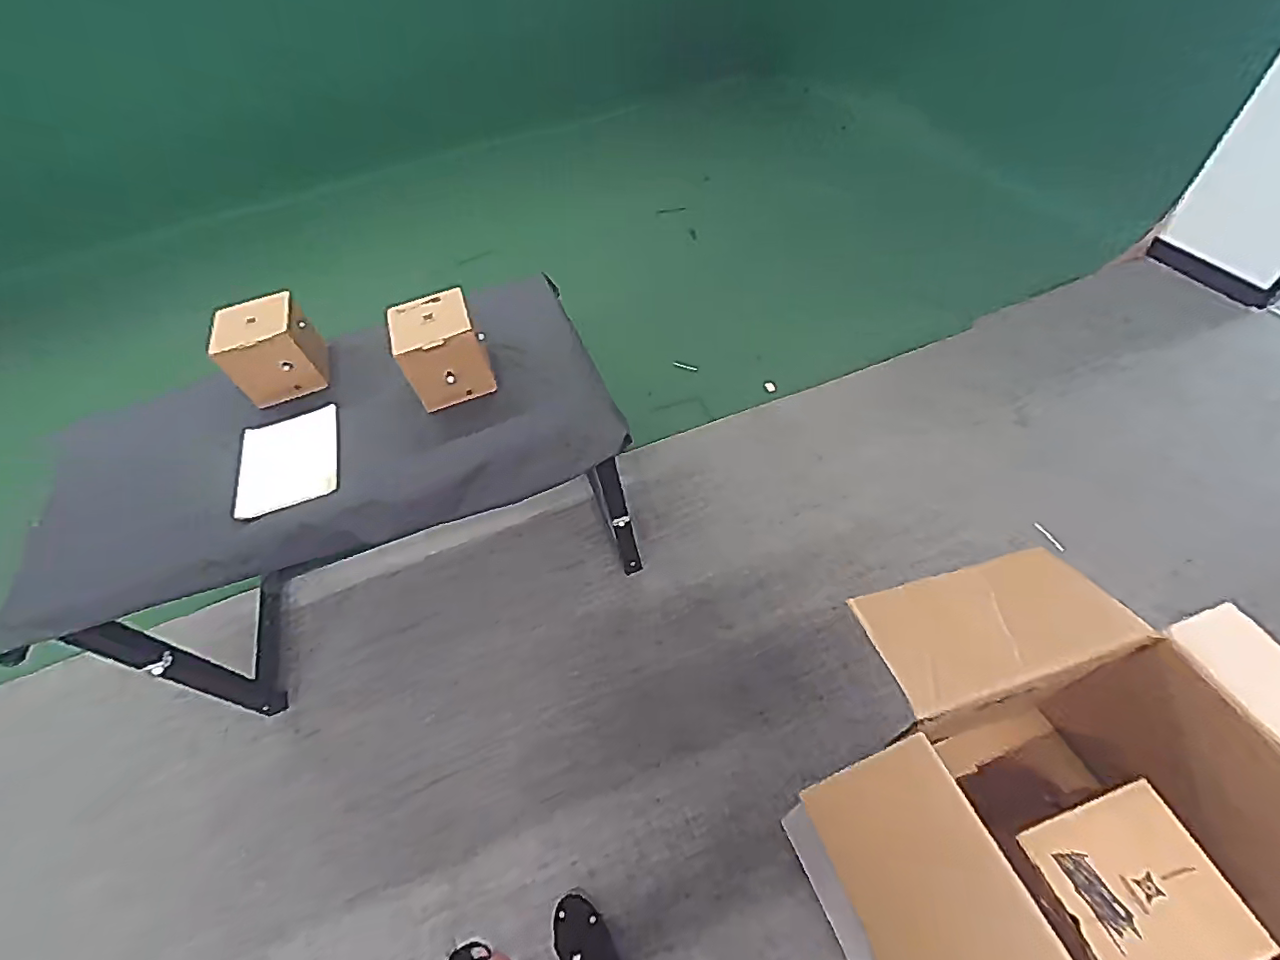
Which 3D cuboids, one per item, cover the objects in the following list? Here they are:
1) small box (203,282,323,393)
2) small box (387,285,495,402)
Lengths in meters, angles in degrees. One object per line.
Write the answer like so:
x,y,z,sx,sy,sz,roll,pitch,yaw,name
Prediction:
-0.864,-0.323,1.257,0.168,0.176,0.179,-20,53,-9,small box
-0.436,-0.293,1.198,0.168,0.176,0.179,-20,55,-7,small box
